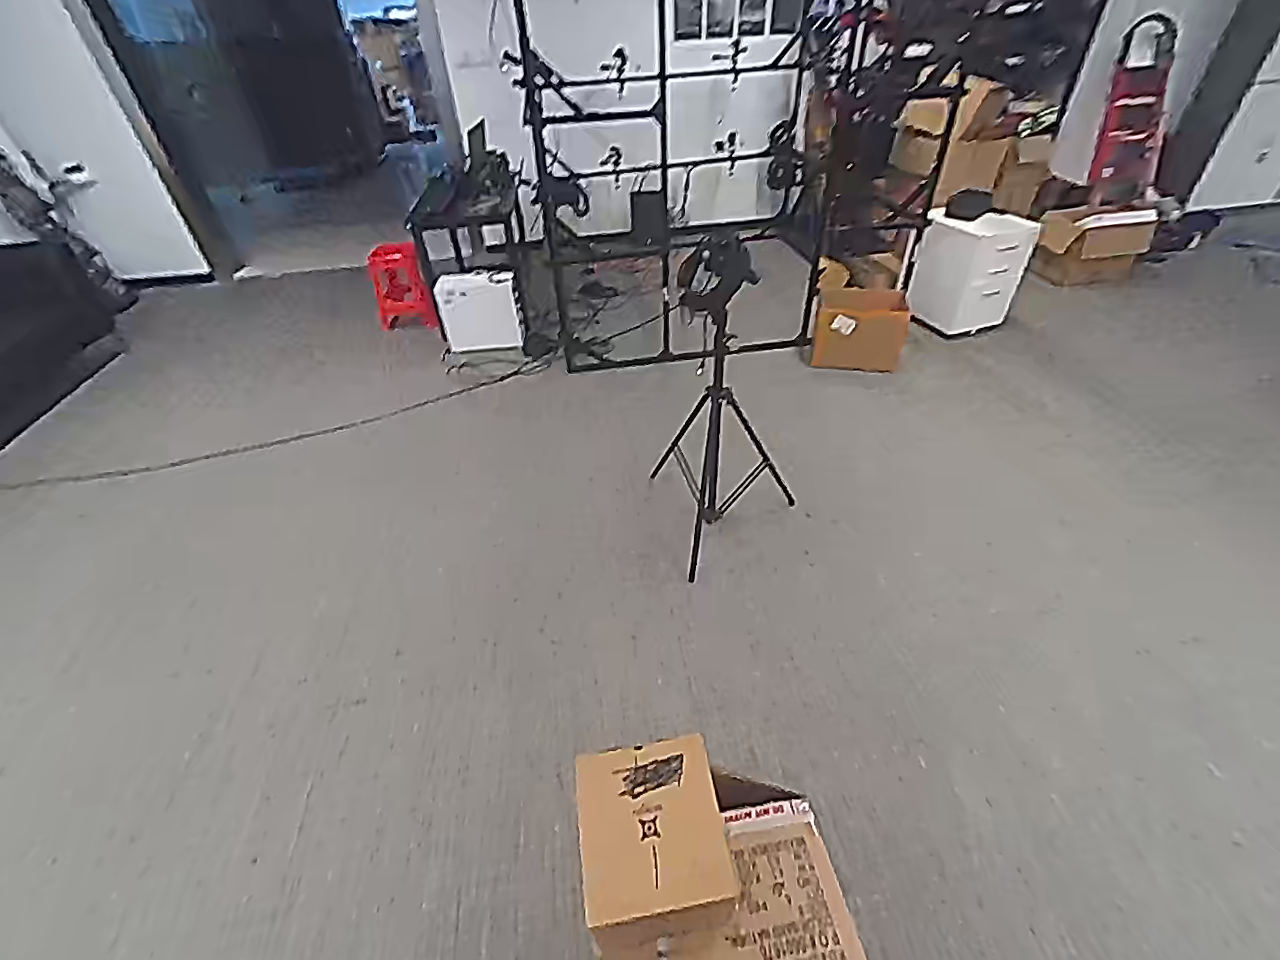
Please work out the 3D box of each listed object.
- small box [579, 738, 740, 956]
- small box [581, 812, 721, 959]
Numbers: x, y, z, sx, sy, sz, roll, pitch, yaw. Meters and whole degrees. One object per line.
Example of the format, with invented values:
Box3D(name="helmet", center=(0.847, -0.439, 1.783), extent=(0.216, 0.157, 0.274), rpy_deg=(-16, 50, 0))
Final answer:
Box3D(name="small box", center=(0.019, 0.457, 0.678), extent=(0.168, 0.176, 0.179), rpy_deg=(-9, 43, -4))
Box3D(name="small box", center=(0.014, 0.580, 0.789), extent=(0.168, 0.176, 0.179), rpy_deg=(-12, 43, -6))
